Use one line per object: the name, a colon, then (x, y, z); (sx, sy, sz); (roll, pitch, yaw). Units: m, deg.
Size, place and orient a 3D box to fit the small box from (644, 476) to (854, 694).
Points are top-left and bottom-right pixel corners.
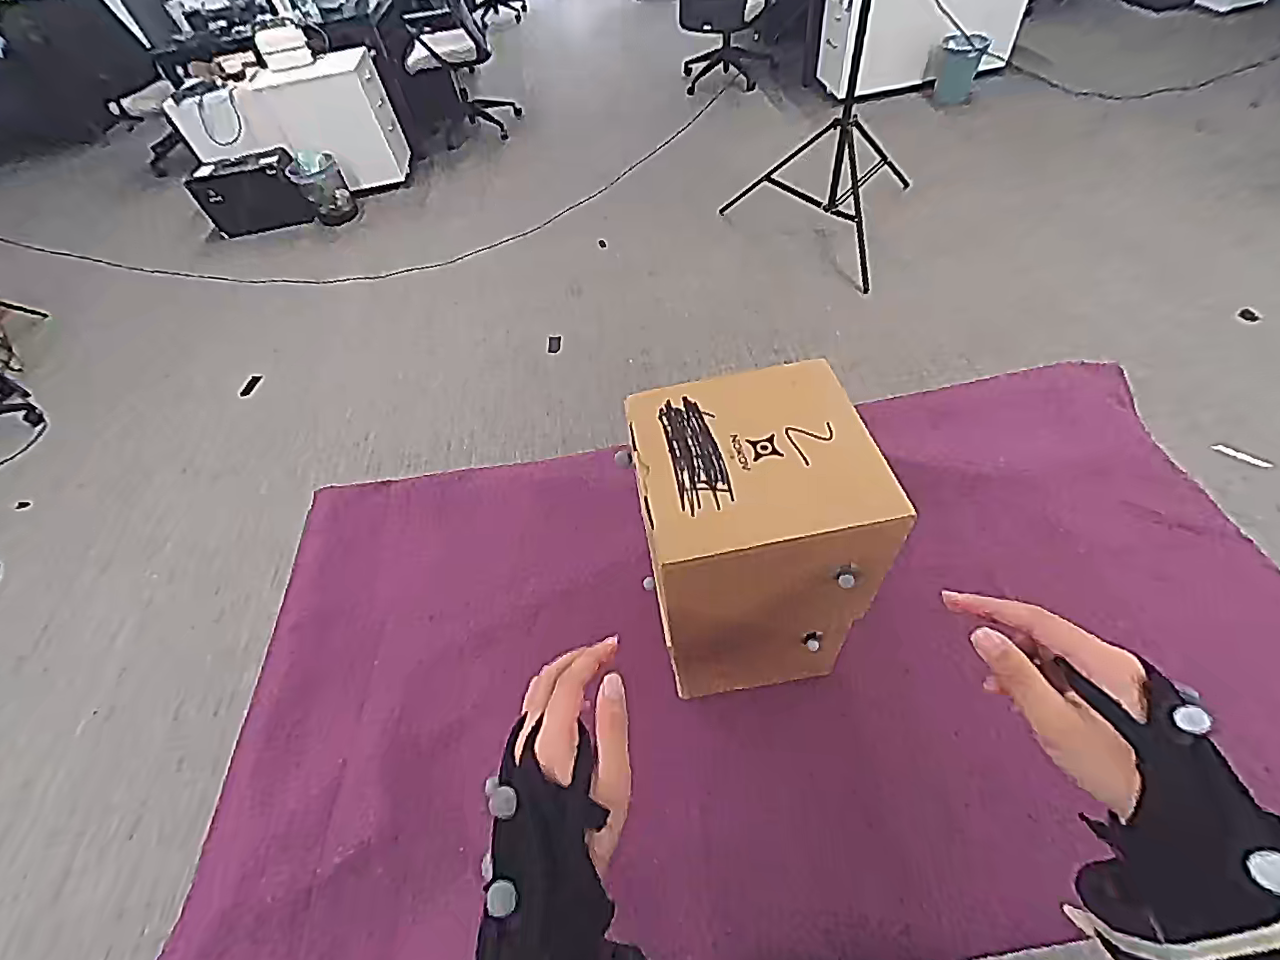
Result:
small box: (0.109, 0.122, 0.598); (0.179, 0.176, 0.168); (-10, 52, 0)
